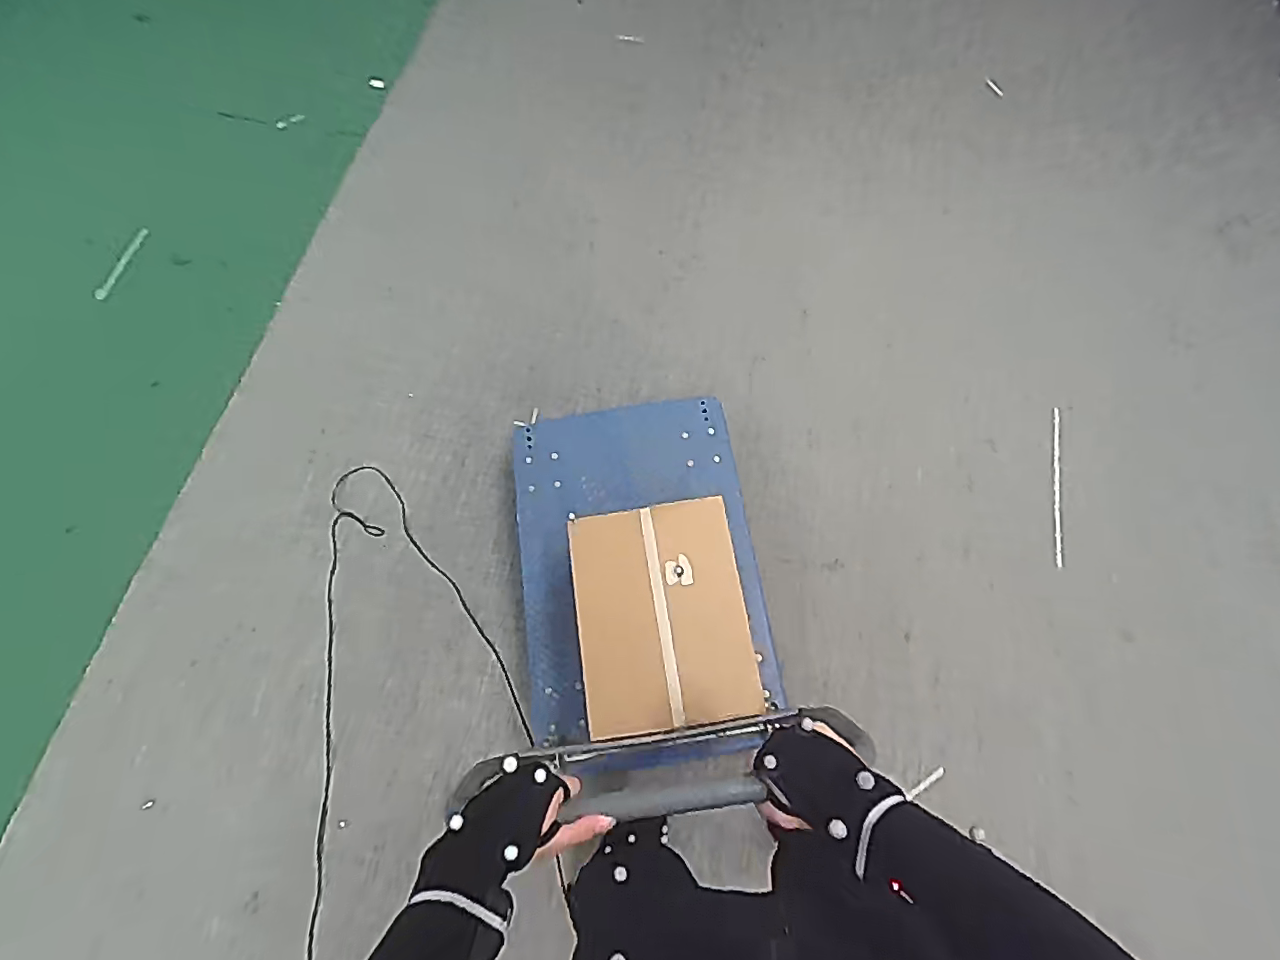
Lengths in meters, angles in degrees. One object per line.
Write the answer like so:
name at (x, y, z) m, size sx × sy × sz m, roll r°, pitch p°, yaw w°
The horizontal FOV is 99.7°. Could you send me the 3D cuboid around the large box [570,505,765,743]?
large box at (0.051, 0.309, 1.163) m, size 0.320 × 0.320 × 0.408 m, roll -9°, pitch 70°, yaw 0°
